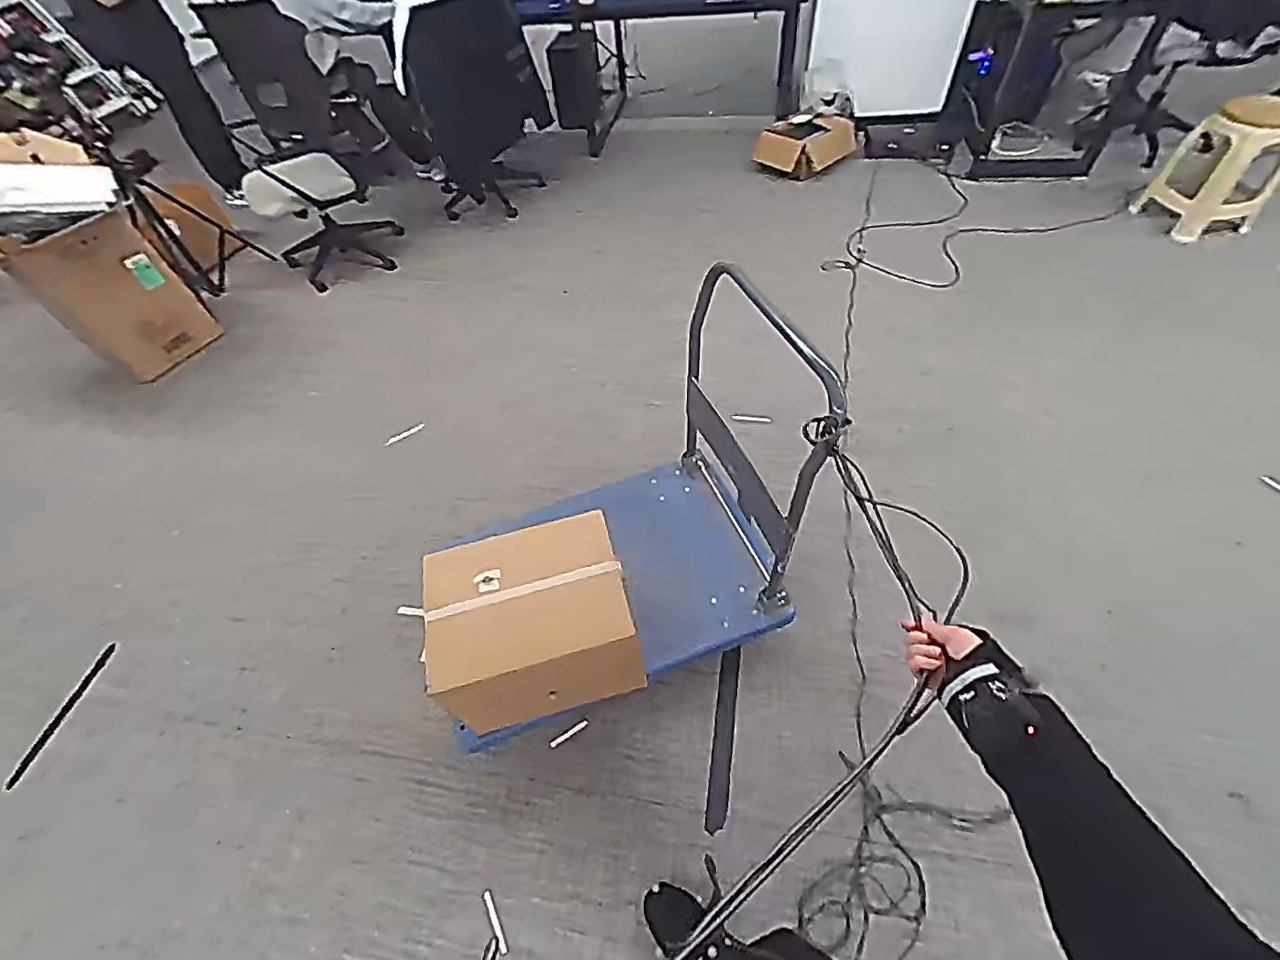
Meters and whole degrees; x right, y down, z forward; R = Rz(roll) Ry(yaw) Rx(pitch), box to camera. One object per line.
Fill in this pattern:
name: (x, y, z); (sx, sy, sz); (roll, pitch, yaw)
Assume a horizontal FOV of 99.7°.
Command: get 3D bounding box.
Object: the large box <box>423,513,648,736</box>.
large box: (-0.223, 0.329, 1.216); (0.408, 0.320, 0.320); (-16, 51, -5)
